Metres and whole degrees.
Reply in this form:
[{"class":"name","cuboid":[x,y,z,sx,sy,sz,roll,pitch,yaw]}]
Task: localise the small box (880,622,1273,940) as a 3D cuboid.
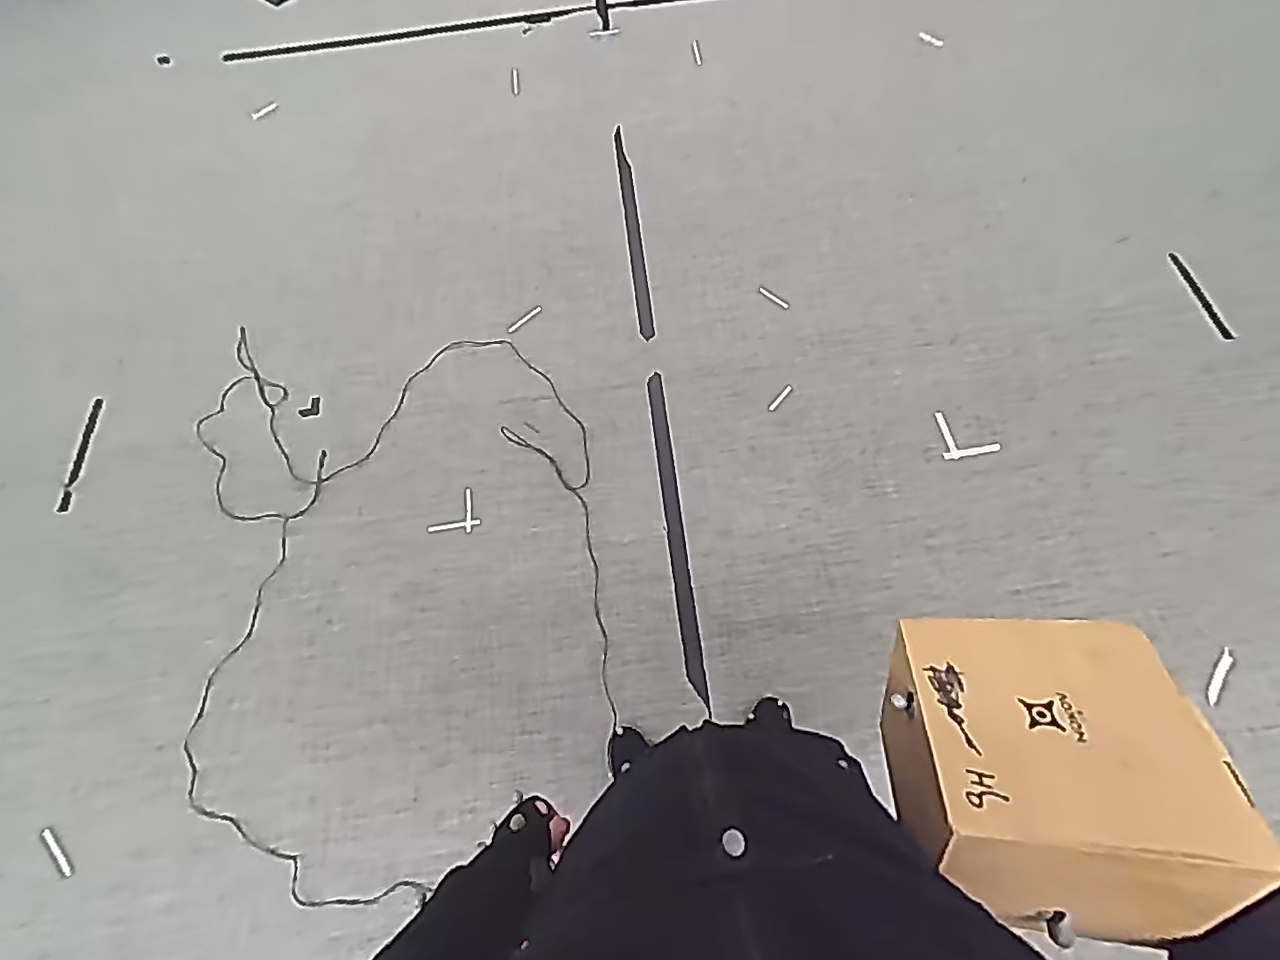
[{"class":"small box","cuboid":[0.308,0.239,0.438,0.179,0.176,0.168,0,37,14]}]
